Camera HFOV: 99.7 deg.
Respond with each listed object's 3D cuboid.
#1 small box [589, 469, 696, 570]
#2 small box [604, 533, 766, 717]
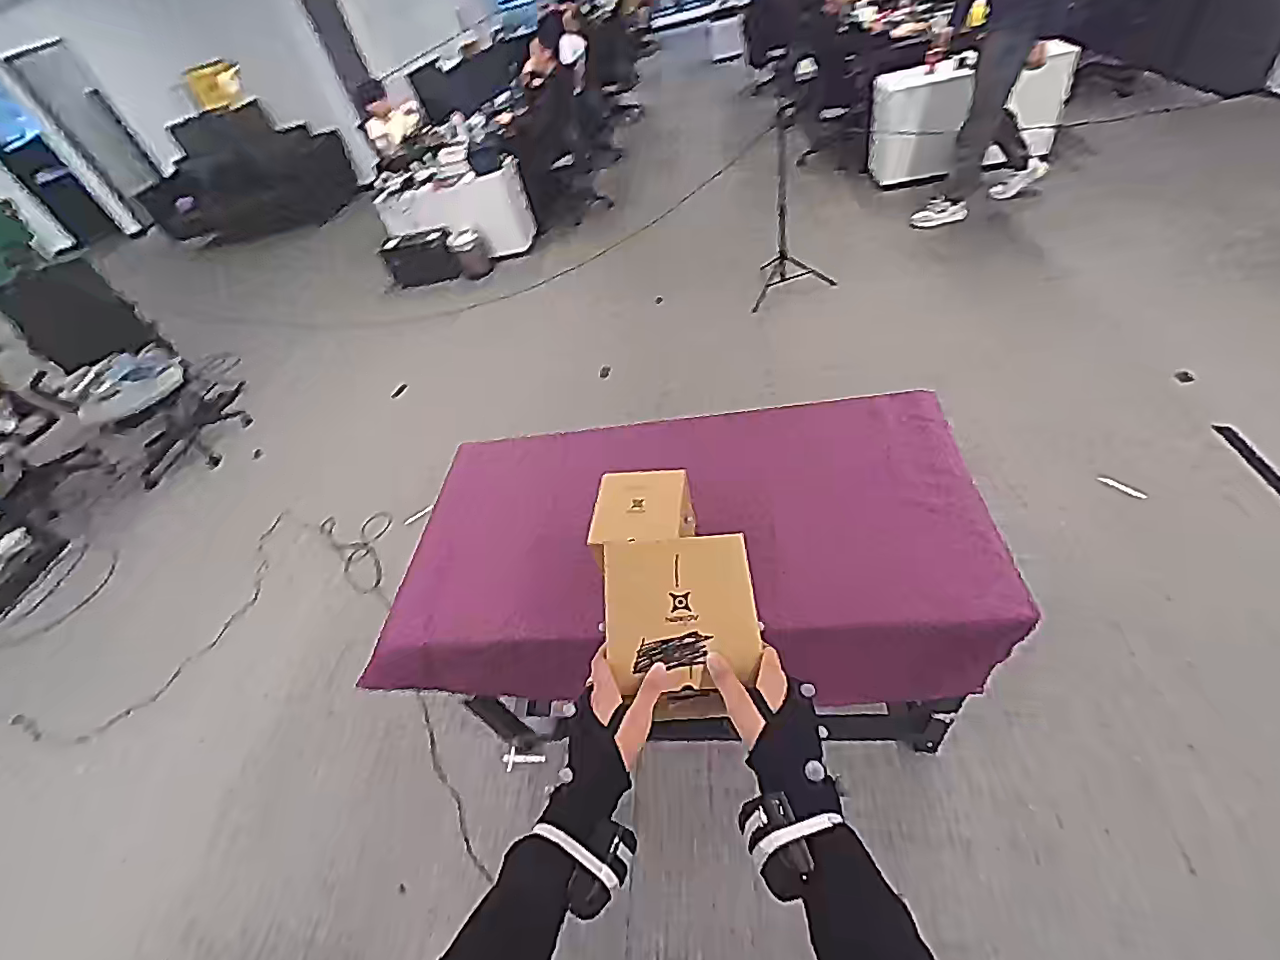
[{"bbox_3d":[0.015,0.099,1.058,0.168,0.176,0.179,-2,46,14],"label":"small box"},{"bbox_3d":[0.047,0.183,0.655,0.168,0.176,0.179,-4,57,0],"label":"small box"}]
